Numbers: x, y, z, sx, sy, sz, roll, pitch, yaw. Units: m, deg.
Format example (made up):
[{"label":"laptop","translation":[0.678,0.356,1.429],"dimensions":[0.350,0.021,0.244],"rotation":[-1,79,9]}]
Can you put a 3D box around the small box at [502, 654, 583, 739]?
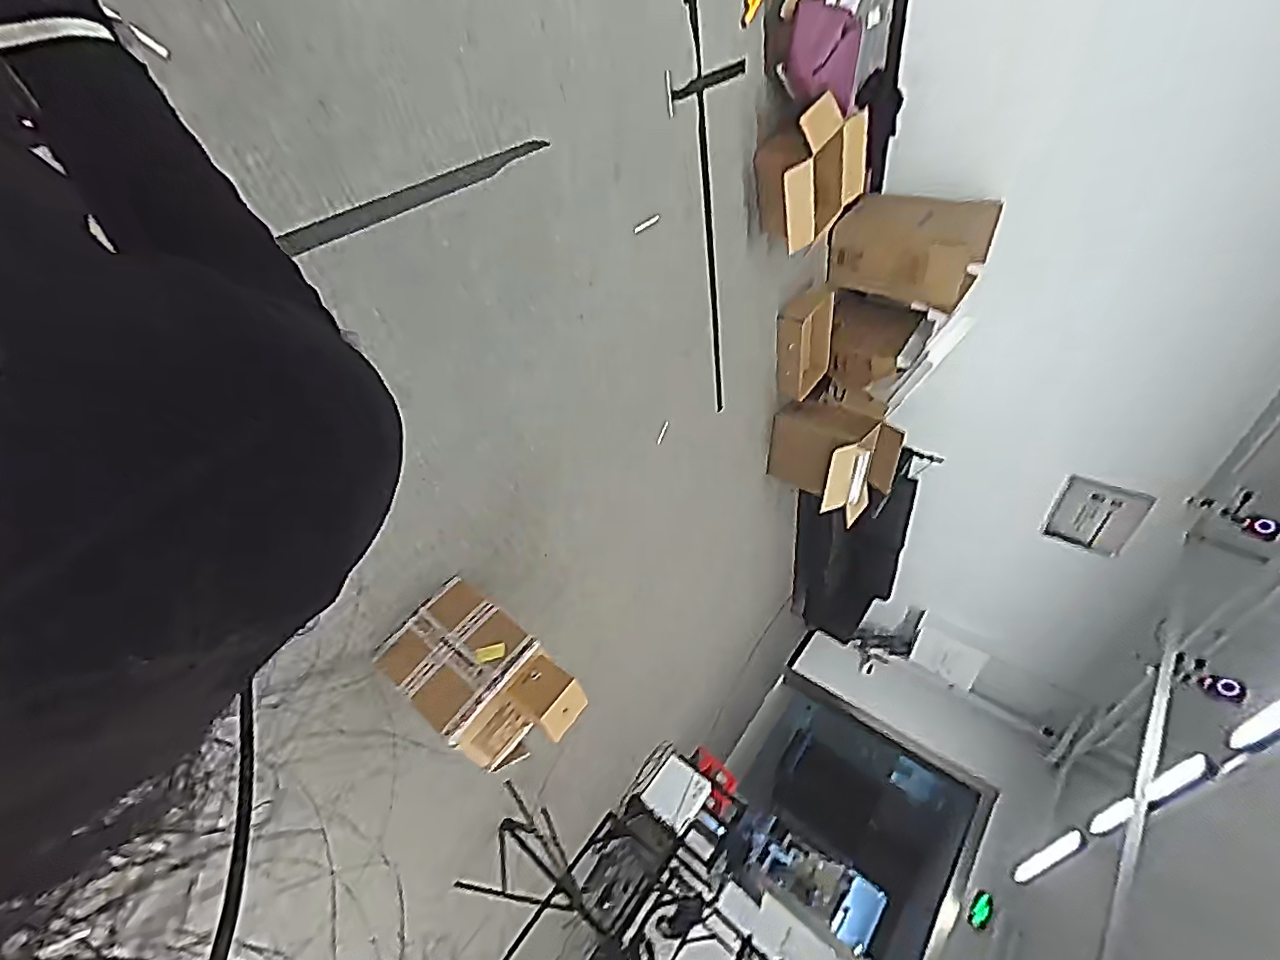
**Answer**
[{"label":"small box","translation":[-0.322,0.710,1.789],"dimensions":[0.168,0.176,0.179],"rotation":[-46,139,-30]}]
